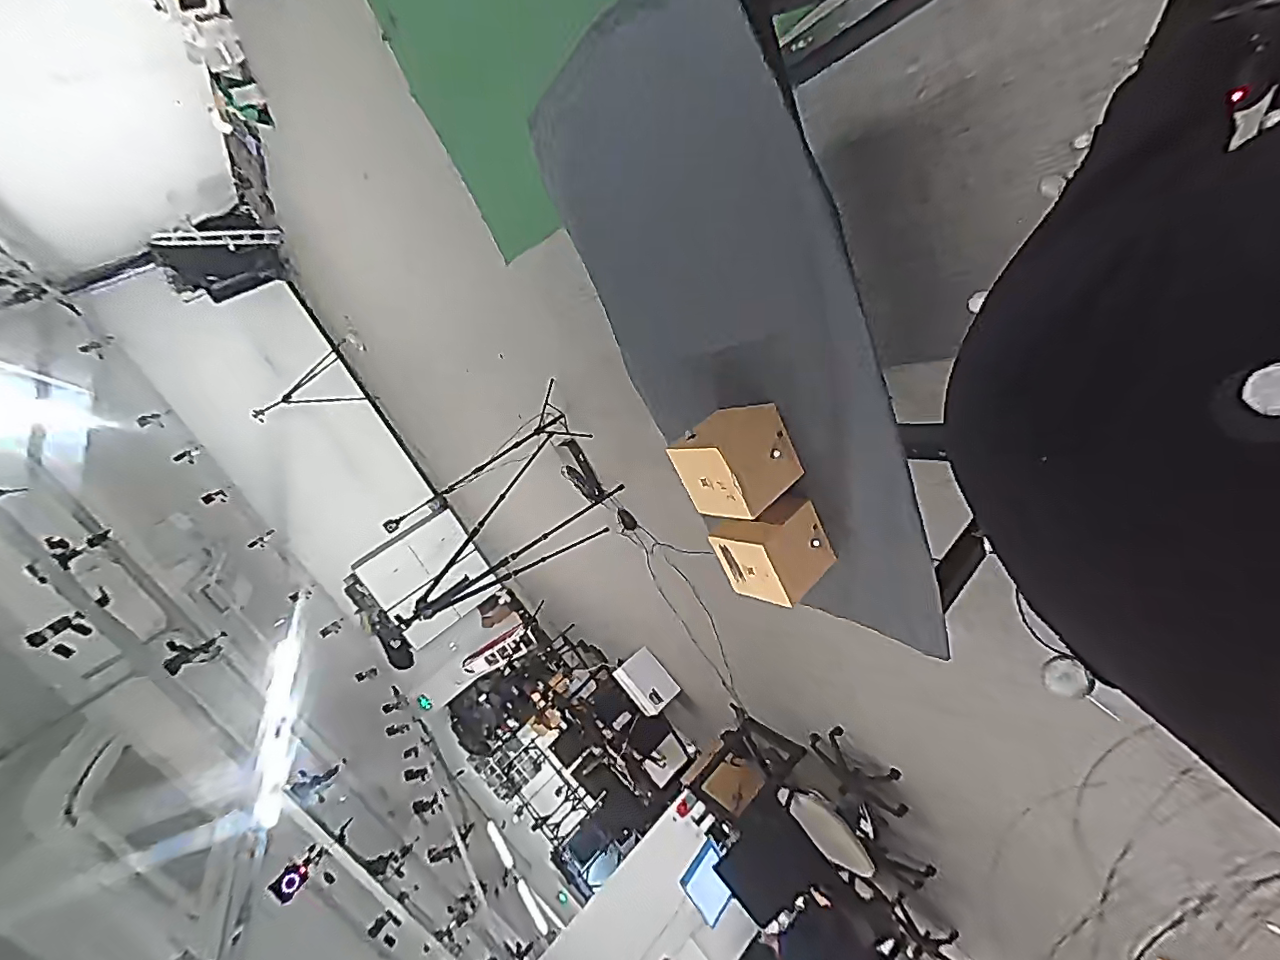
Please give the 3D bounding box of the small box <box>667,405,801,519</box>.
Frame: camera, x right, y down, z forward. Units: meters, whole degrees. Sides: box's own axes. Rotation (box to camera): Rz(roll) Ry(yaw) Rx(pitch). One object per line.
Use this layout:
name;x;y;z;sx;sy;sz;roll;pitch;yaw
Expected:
small box;0.195;-0.041;1.116;0.179;0.176;0.168;3;126;58
